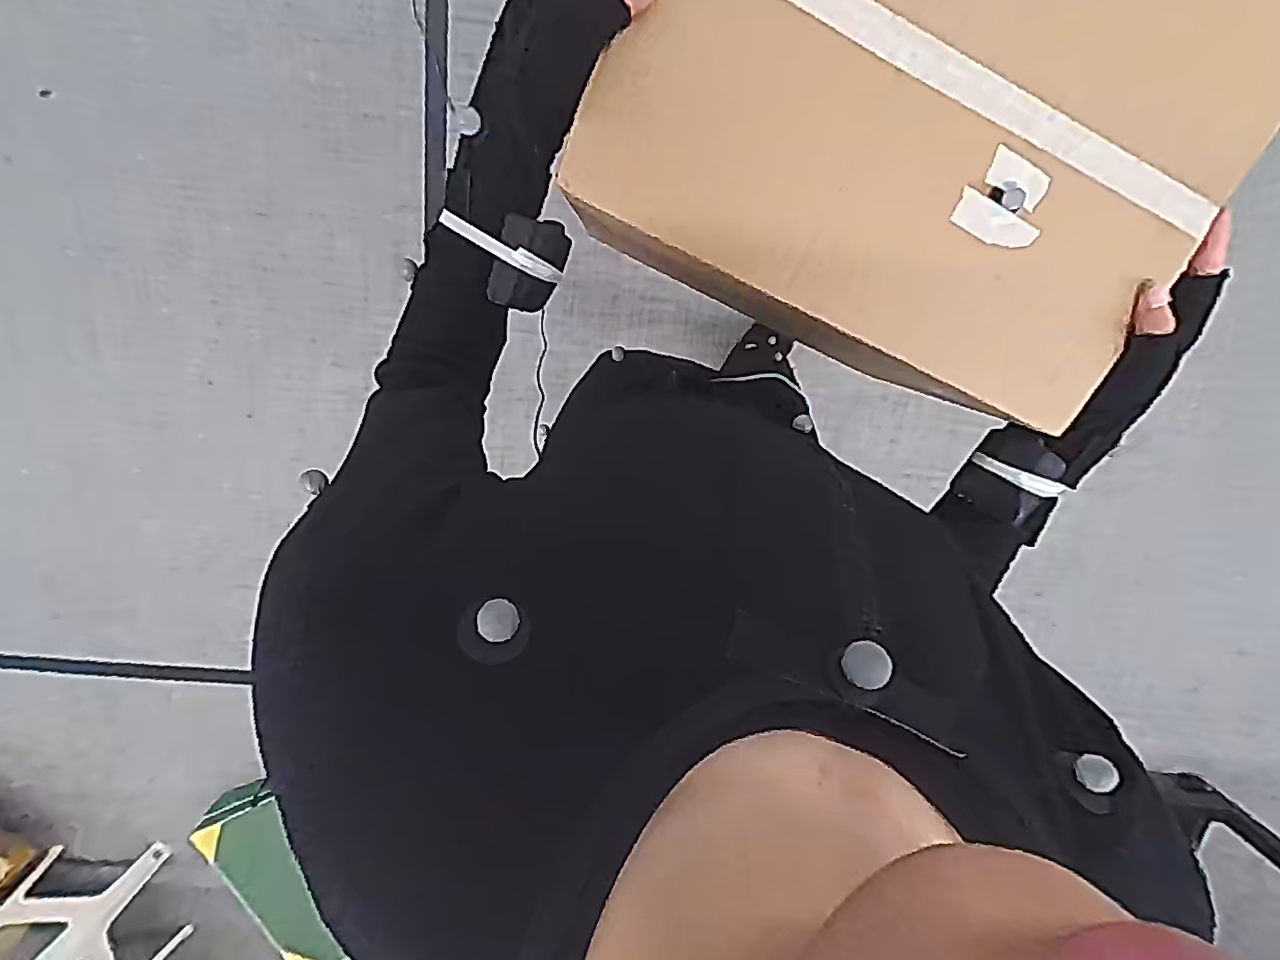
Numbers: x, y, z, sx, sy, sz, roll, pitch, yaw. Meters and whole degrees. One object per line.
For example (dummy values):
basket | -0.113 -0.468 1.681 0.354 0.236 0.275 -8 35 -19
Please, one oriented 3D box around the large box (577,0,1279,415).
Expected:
large box | 0.190 -0.301 0.486 0.408 0.320 0.320 23 107 -10
